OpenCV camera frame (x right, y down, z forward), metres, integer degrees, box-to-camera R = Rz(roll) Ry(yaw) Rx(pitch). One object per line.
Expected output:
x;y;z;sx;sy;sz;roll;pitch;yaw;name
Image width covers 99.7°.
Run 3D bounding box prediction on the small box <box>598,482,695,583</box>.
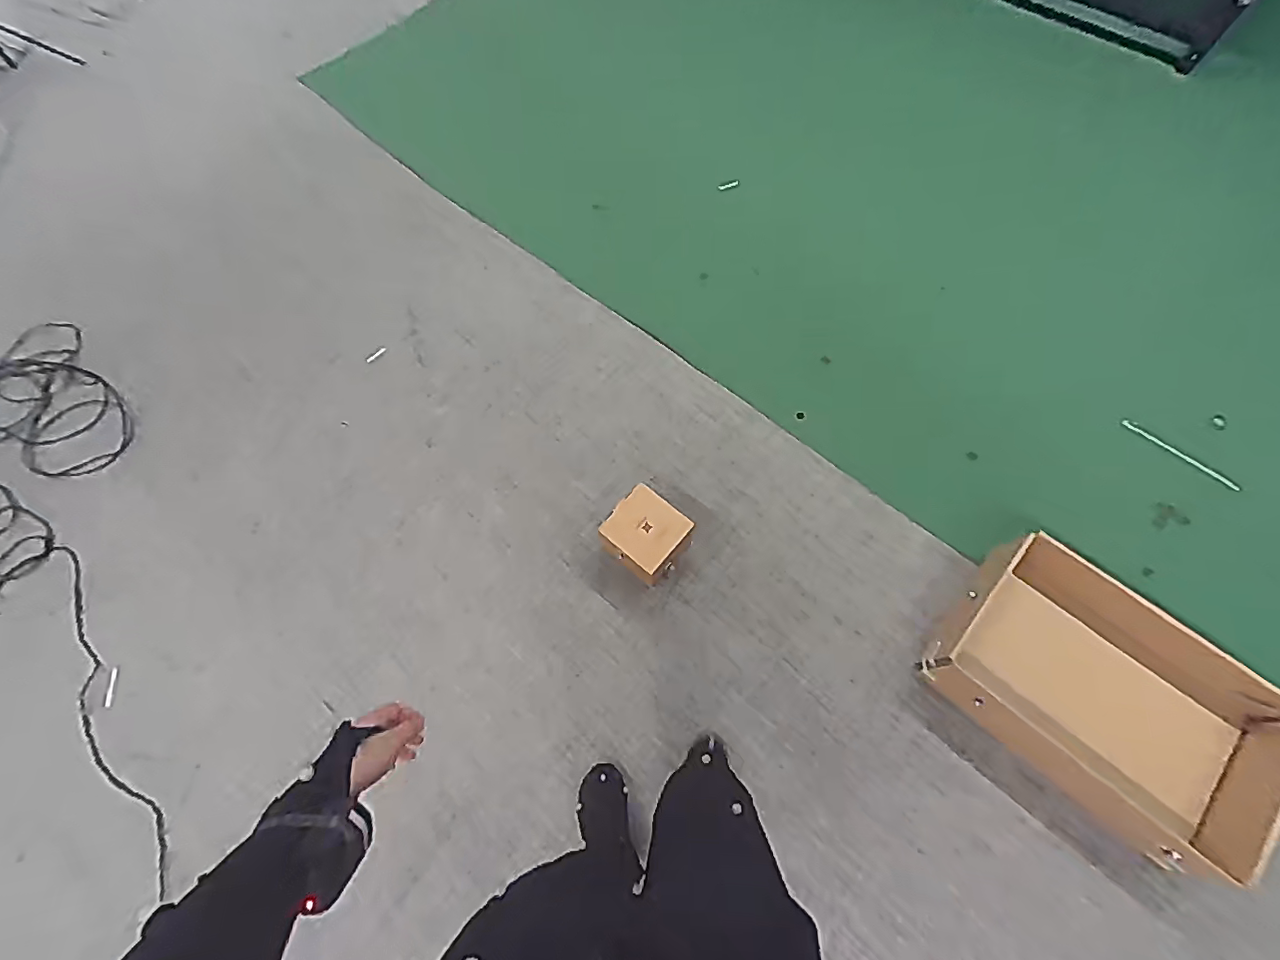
0.016;0.140;1.366;0.179;0.176;0.168;38;75;14;small box
